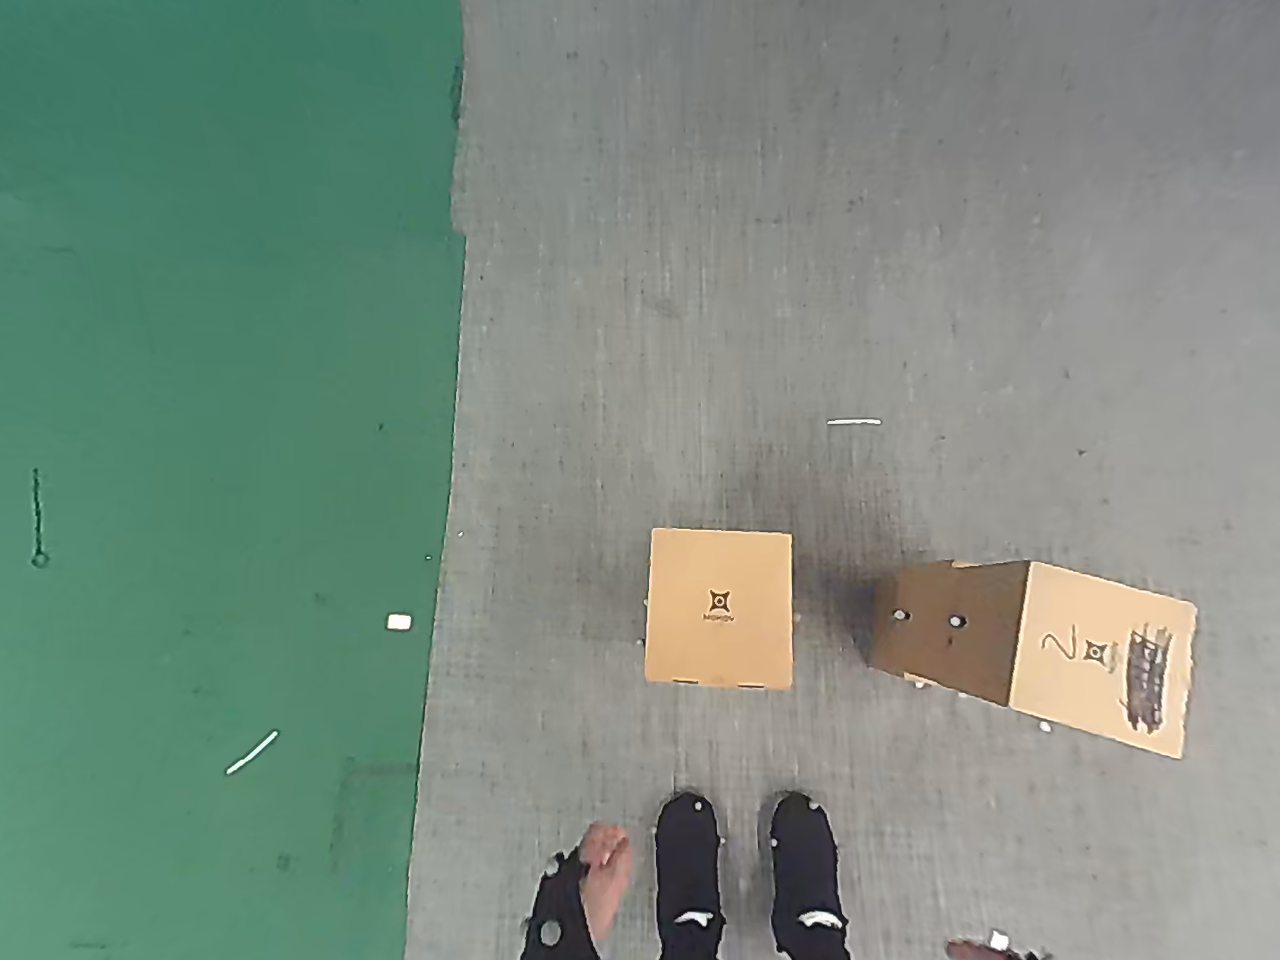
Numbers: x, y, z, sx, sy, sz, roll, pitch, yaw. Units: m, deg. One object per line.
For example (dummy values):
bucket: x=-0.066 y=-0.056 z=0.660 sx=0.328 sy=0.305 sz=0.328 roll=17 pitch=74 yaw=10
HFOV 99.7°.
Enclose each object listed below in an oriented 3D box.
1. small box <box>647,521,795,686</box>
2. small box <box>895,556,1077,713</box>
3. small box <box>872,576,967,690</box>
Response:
small box: x=0.097 y=0.154 z=0.689 sx=0.168 sy=0.176 sz=0.179 roll=2 pitch=77 yaw=4
small box: x=0.506 y=0.224 z=0.816 sx=0.168 sy=0.176 sz=0.179 roll=14 pitch=79 yaw=6
small box: x=0.534 y=0.271 z=0.971 sx=0.168 sy=0.176 sz=0.179 roll=10 pitch=79 yaw=6
